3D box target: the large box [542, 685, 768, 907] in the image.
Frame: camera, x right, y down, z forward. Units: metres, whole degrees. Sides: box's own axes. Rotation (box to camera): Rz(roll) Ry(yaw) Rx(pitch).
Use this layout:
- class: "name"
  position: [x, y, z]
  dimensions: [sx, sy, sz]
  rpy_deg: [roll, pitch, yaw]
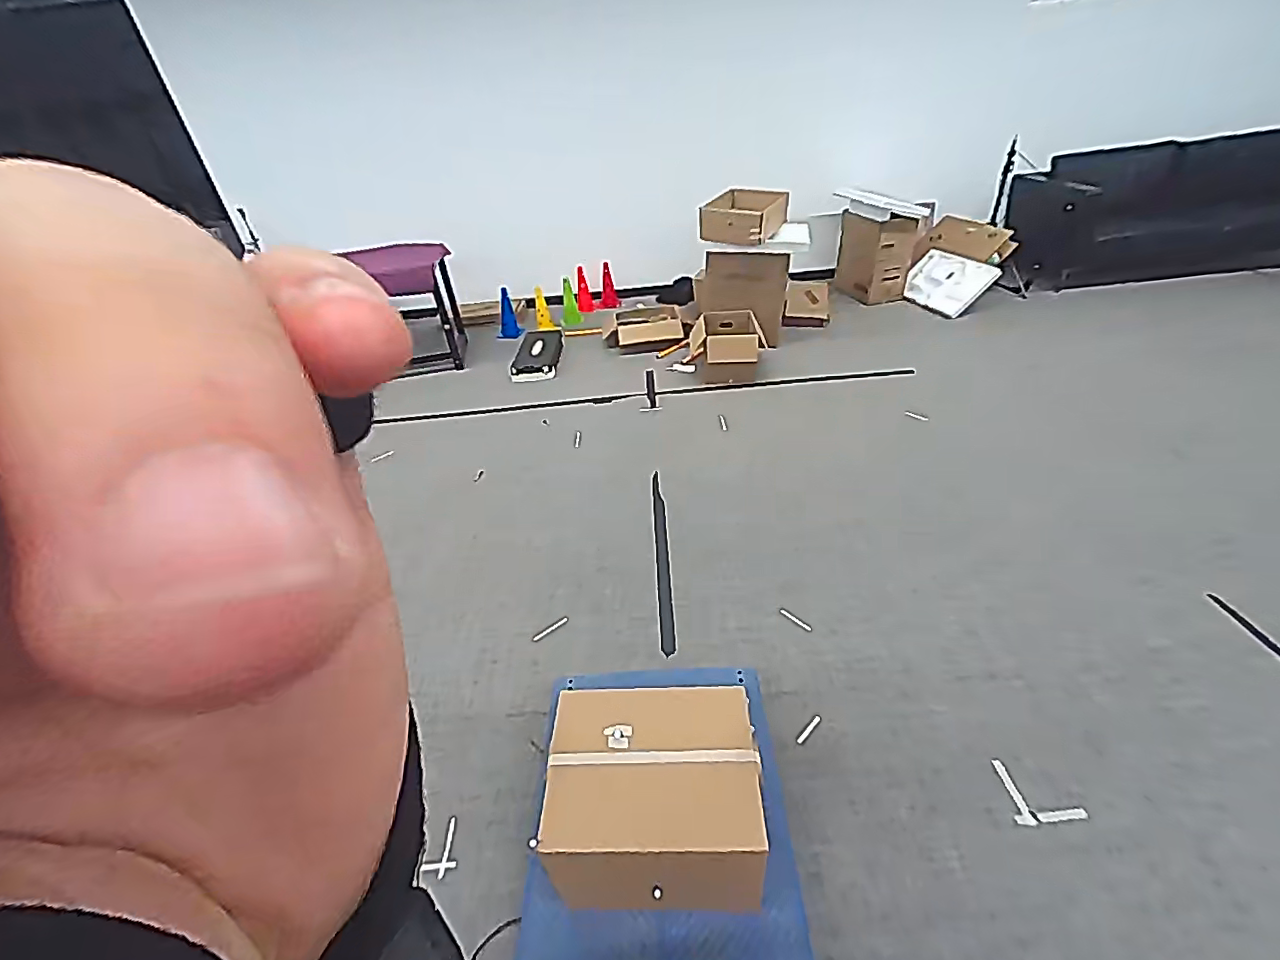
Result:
- class: "large box"
  position: [0.039, 0.670, 1.149]
  dimensions: [0.408, 0.320, 0.320]
  rpy_deg: [-4, 35, 4]
